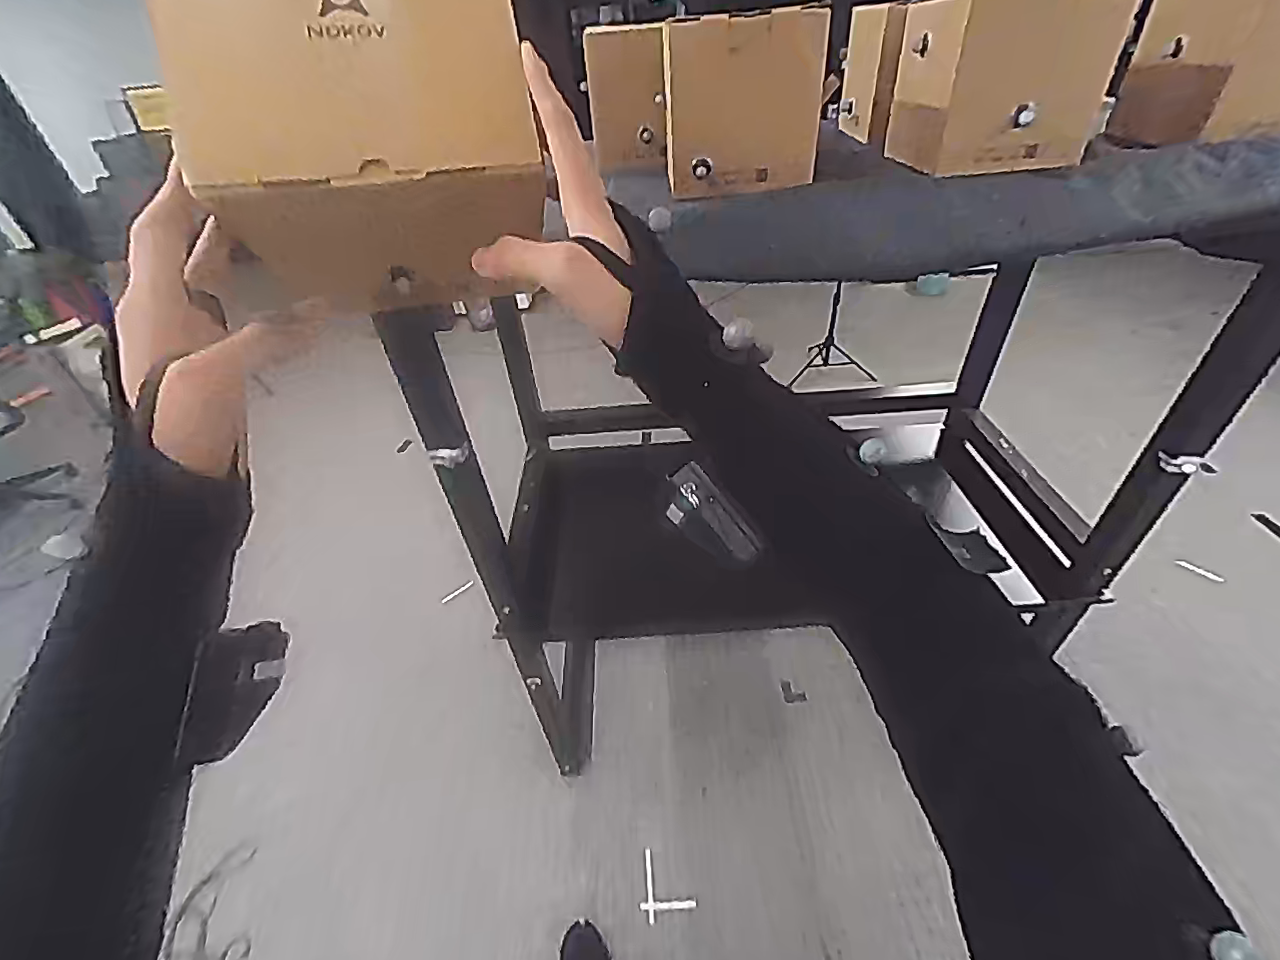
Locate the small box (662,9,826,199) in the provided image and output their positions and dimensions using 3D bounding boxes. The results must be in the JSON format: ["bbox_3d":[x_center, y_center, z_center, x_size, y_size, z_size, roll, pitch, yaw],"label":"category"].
[{"bbox_3d":[0.115,-0.451,0.660,0.168,0.176,0.179,-3,38,3],"label":"small box"}]

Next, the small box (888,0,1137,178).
[{"bbox_3d":[0.417,-0.469,0.643,0.168,0.176,0.179,-3,38,4],"label":"small box"}]

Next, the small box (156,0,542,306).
[{"bbox_3d":[-0.162,-0.233,0.345,0.168,0.179,0.176,-12,0,-12],"label":"small box"}]

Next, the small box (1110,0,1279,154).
[{"bbox_3d":[0.724,-0.497,0.642,0.168,0.176,0.179,-2,39,5],"label":"small box"}]

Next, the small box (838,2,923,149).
[{"bbox_3d":[0.425,-0.627,0.837,0.179,0.176,0.168,-3,39,3],"label":"small box"}]
